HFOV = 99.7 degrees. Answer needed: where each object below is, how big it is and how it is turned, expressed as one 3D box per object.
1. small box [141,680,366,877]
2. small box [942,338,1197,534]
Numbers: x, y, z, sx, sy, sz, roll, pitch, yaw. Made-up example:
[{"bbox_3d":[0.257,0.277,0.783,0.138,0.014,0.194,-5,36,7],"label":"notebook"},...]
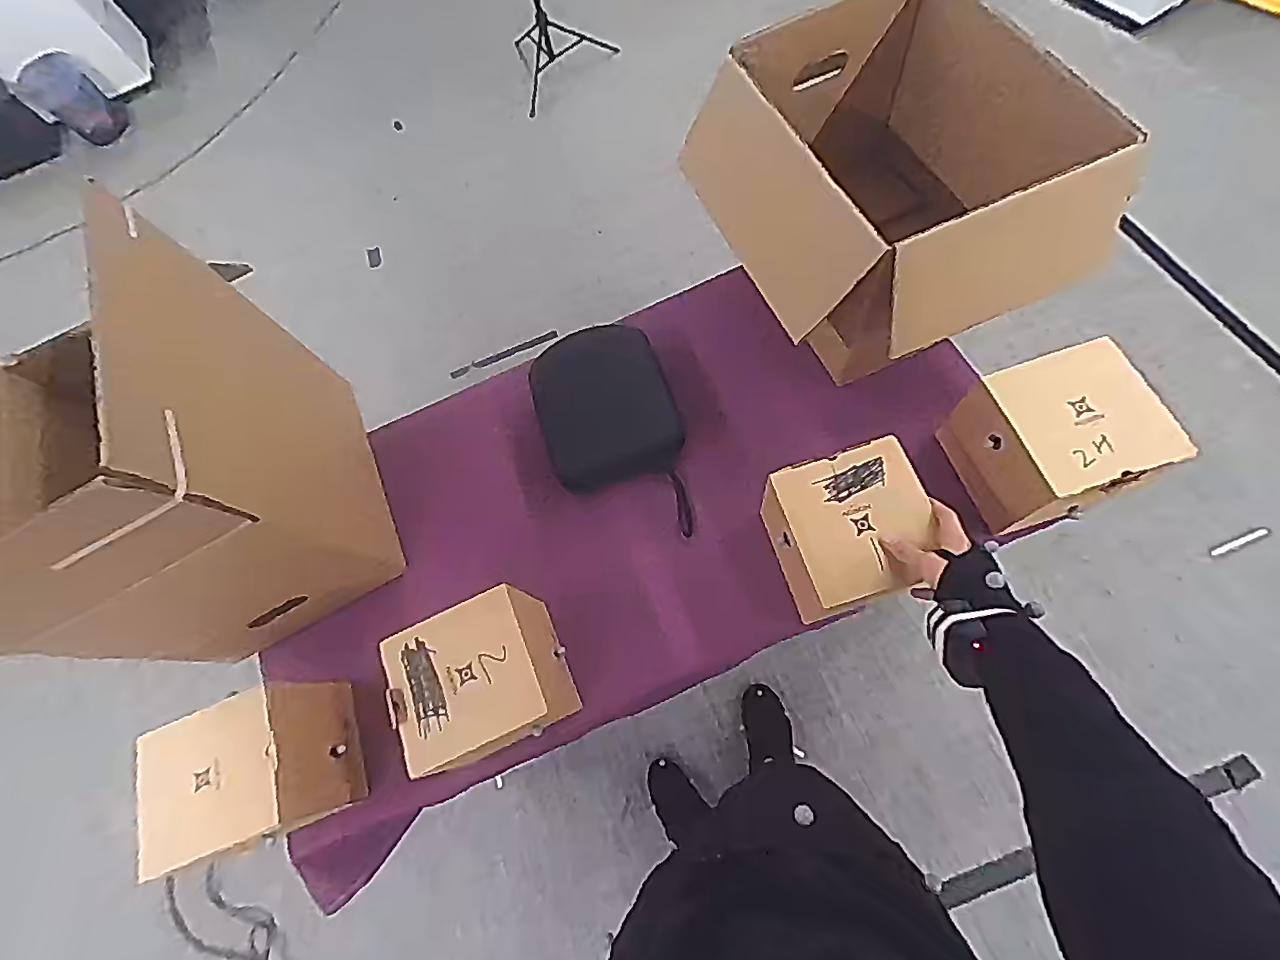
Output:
[{"bbox_3d":[-0.503,0.383,0.720,0.179,0.176,0.168,-23,67,-1],"label":"small box"},{"bbox_3d":[0.537,-0.049,0.713,0.168,0.176,0.179,-18,67,3],"label":"small box"}]
